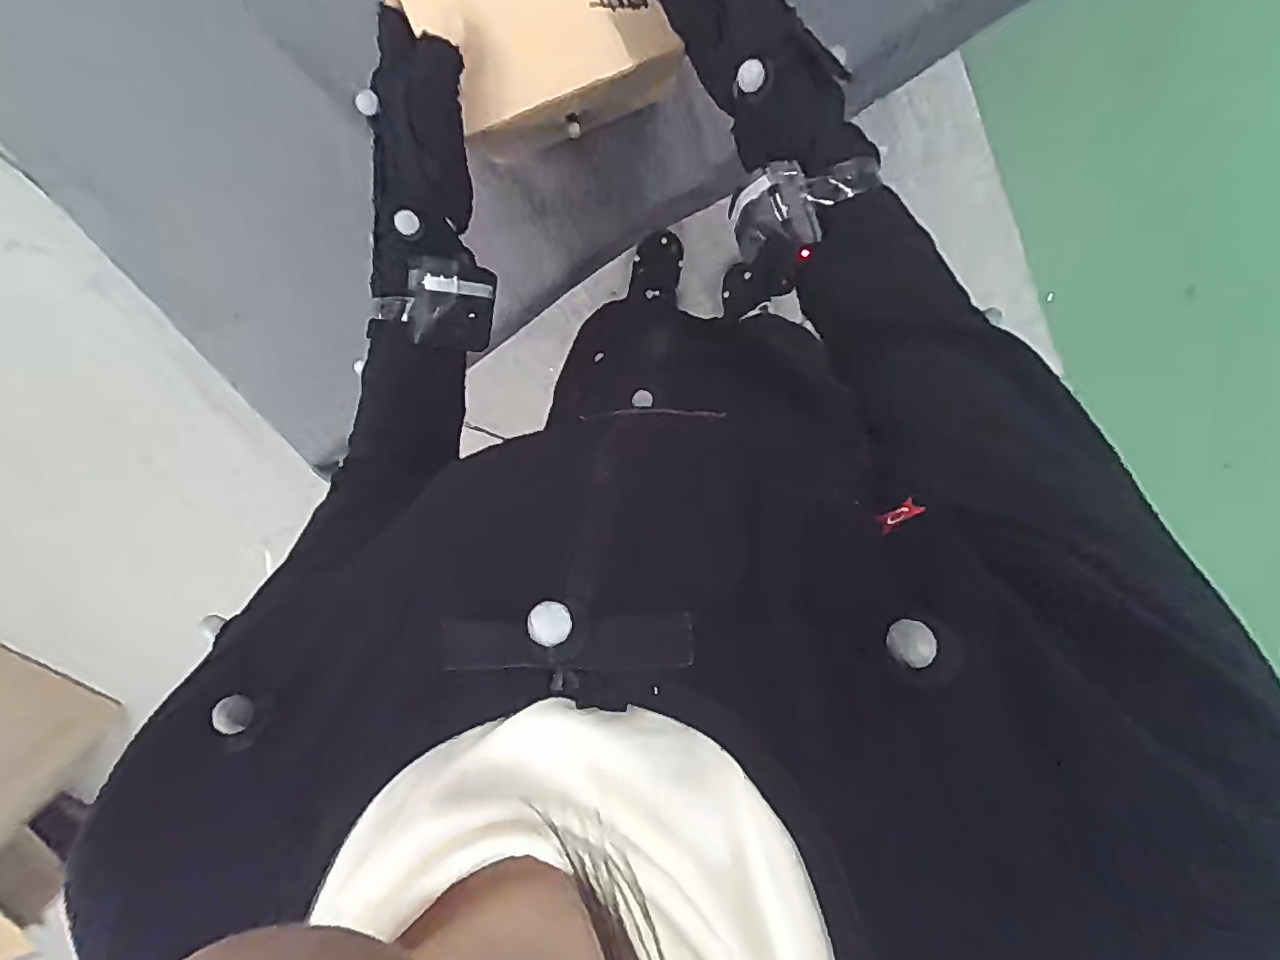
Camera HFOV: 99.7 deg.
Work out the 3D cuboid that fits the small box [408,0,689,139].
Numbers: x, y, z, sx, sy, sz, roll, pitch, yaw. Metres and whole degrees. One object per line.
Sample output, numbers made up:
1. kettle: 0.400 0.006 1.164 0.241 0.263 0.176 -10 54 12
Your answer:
1. small box: -0.074 -0.378 0.402 0.179 0.176 0.168 -15 114 4
